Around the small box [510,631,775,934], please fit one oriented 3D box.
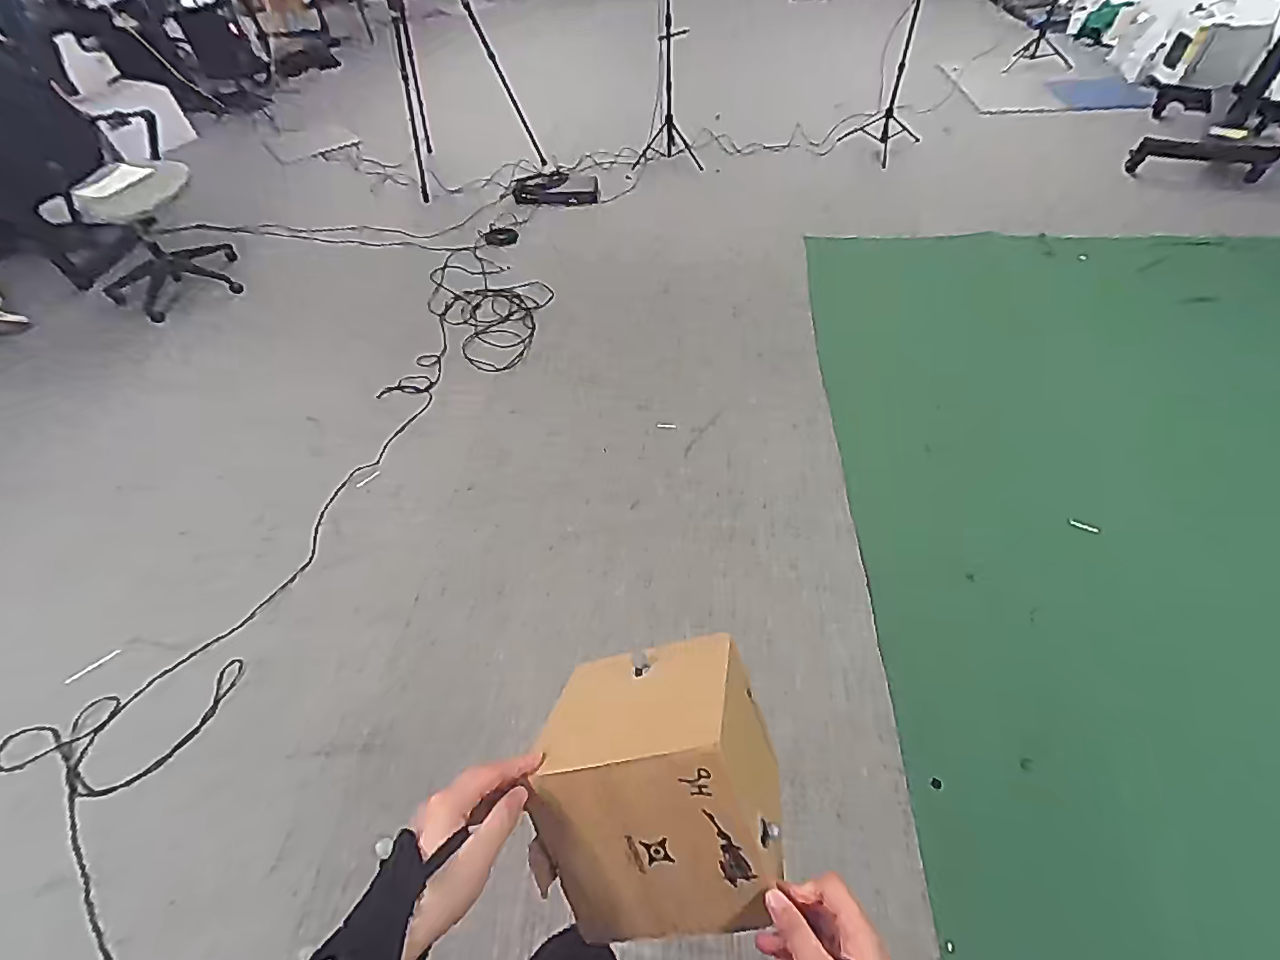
[{"bbox_3d":[0.017,0.263,0.495,0.179,0.168,0.176,-18,9,16],"label":"small box"}]
